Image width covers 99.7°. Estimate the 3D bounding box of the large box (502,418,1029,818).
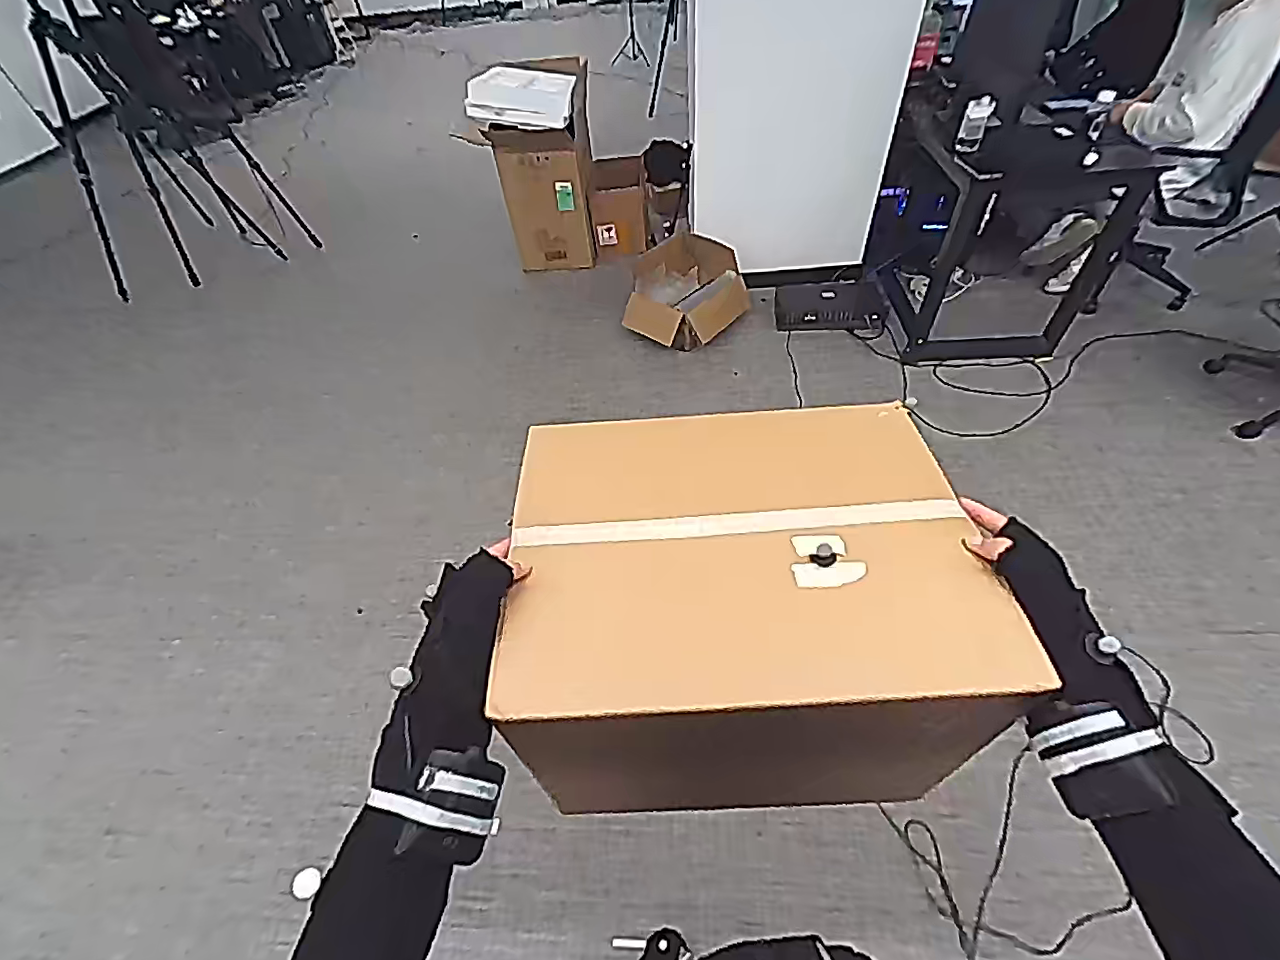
[{"bbox_3d":[0.094,0.157,0.609,0.408,0.320,0.320,-4,47,1],"label":"large box"}]
